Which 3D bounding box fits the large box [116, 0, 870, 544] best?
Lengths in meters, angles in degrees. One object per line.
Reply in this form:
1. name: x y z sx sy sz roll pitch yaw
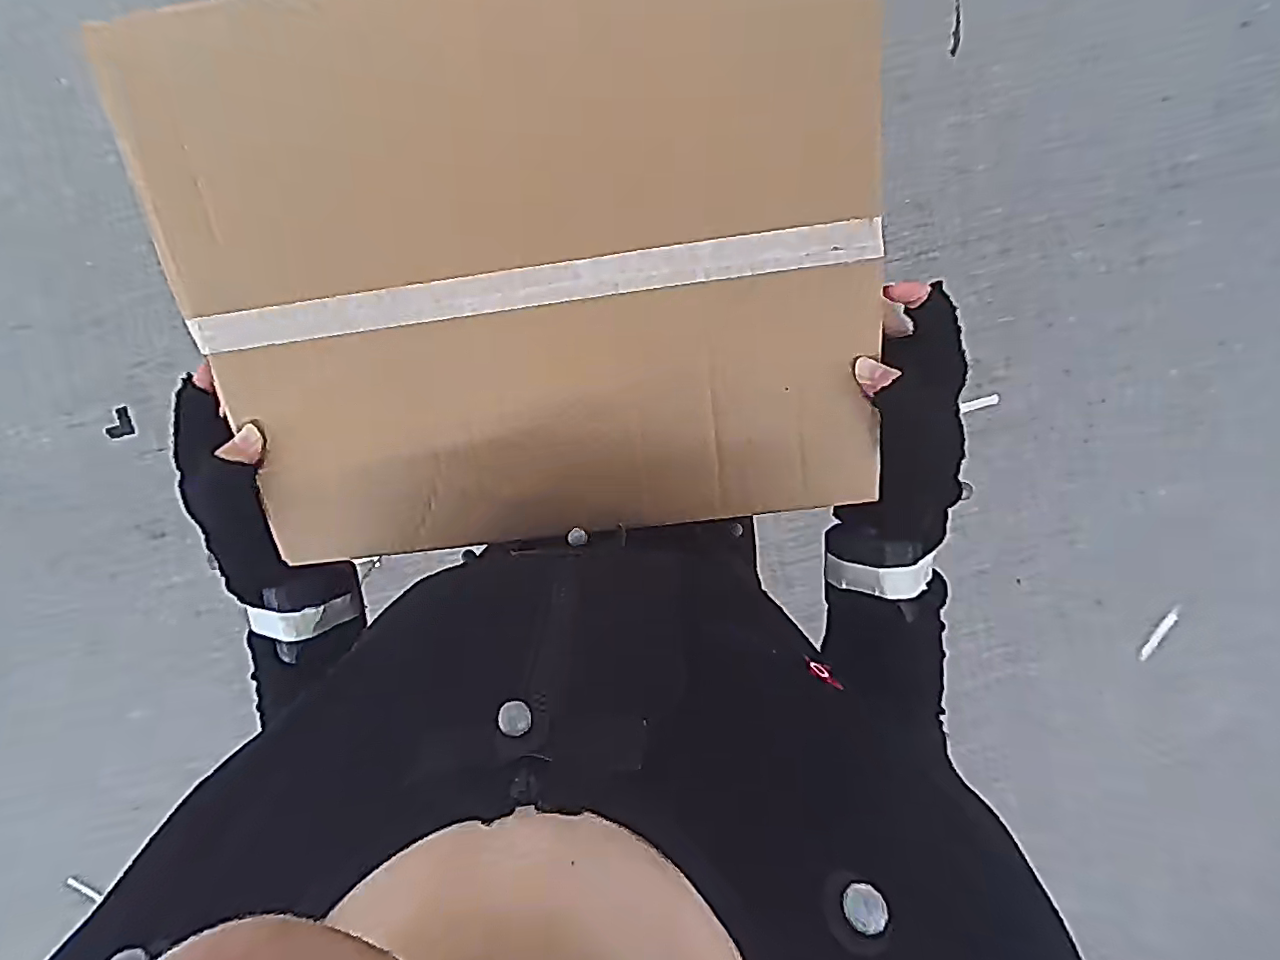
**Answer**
1. large box: -0.064 -0.170 0.462 0.408 0.320 0.320 -7 110 3
